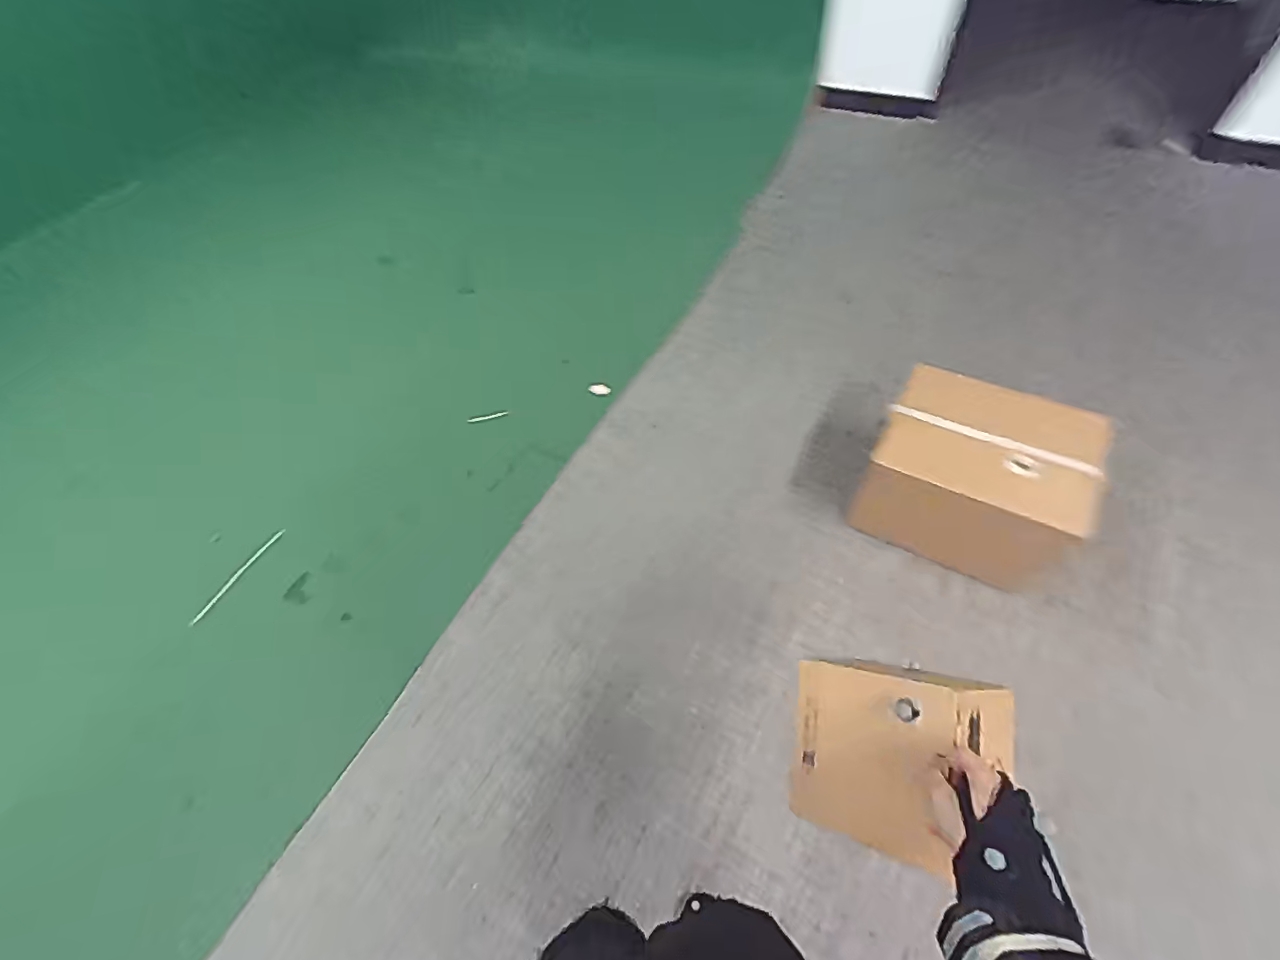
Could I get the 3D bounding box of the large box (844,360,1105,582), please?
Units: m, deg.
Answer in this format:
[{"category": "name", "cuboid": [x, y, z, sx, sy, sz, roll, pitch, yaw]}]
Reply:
[{"category": "large box", "cuboid": [0.749, -0.018, 1.266, 0.408, 0.320, 0.320, 23, 66, 19]}]
